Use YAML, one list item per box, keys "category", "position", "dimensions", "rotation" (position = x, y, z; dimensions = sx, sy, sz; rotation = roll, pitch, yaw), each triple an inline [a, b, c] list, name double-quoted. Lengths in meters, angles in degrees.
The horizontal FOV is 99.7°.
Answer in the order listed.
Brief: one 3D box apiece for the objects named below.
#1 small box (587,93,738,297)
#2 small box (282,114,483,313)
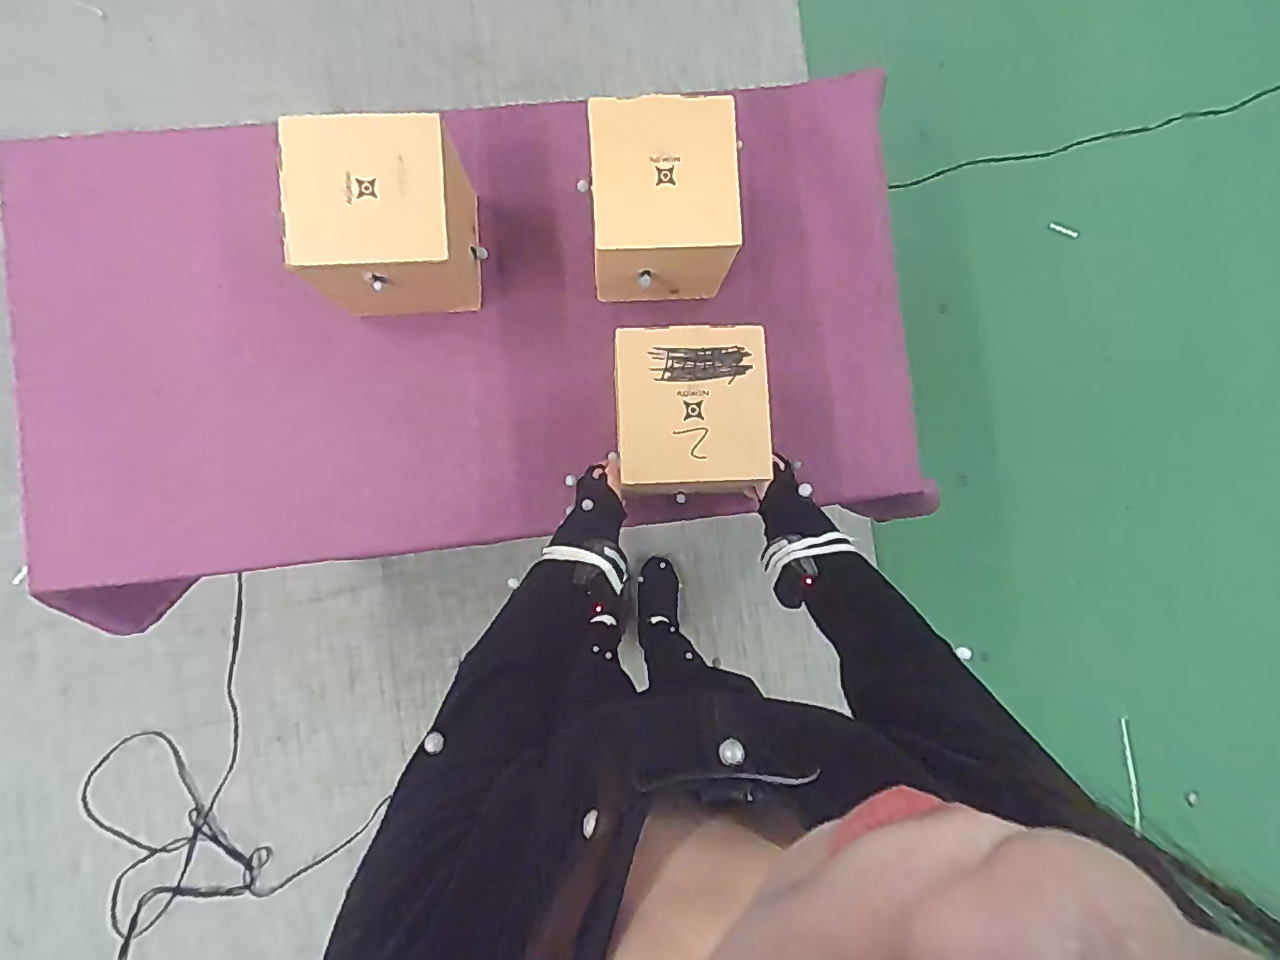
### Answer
- category: "small box"
  position: [0.023, -0.342, 0.682]
  dimensions: [0.168, 0.176, 0.179]
  rotation: [-3, 87, -2]
- category: "small box"
  position: [-0.304, -0.314, 0.668]
  dimensions: [0.179, 0.176, 0.168]
  rotation: [-3, 89, -4]
